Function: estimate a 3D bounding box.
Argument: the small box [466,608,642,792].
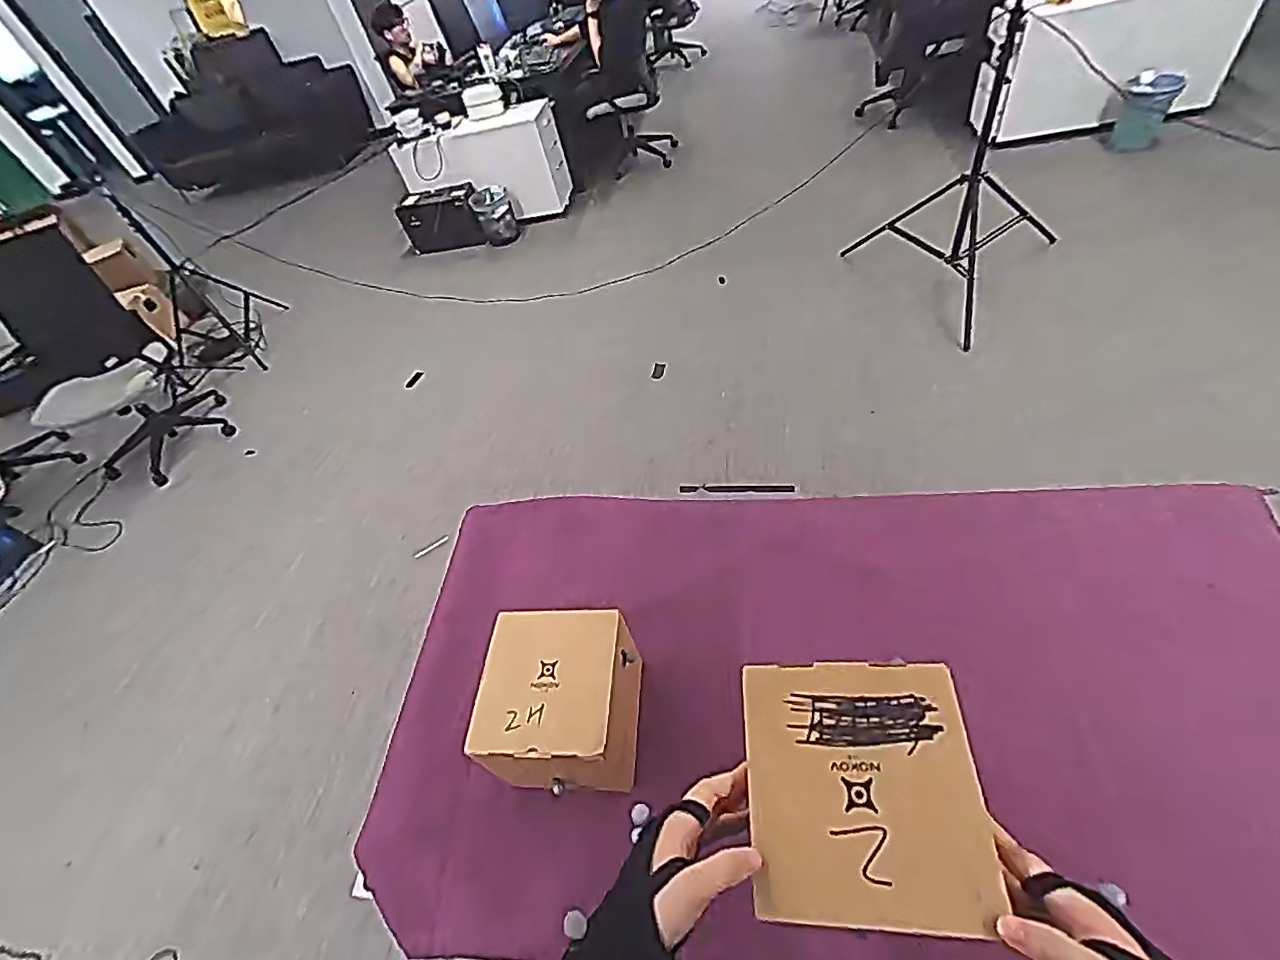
[{"bbox_3d":[-0.094,0.284,0.699,0.168,0.176,0.179,-4,49,11],"label":"small box"}]
